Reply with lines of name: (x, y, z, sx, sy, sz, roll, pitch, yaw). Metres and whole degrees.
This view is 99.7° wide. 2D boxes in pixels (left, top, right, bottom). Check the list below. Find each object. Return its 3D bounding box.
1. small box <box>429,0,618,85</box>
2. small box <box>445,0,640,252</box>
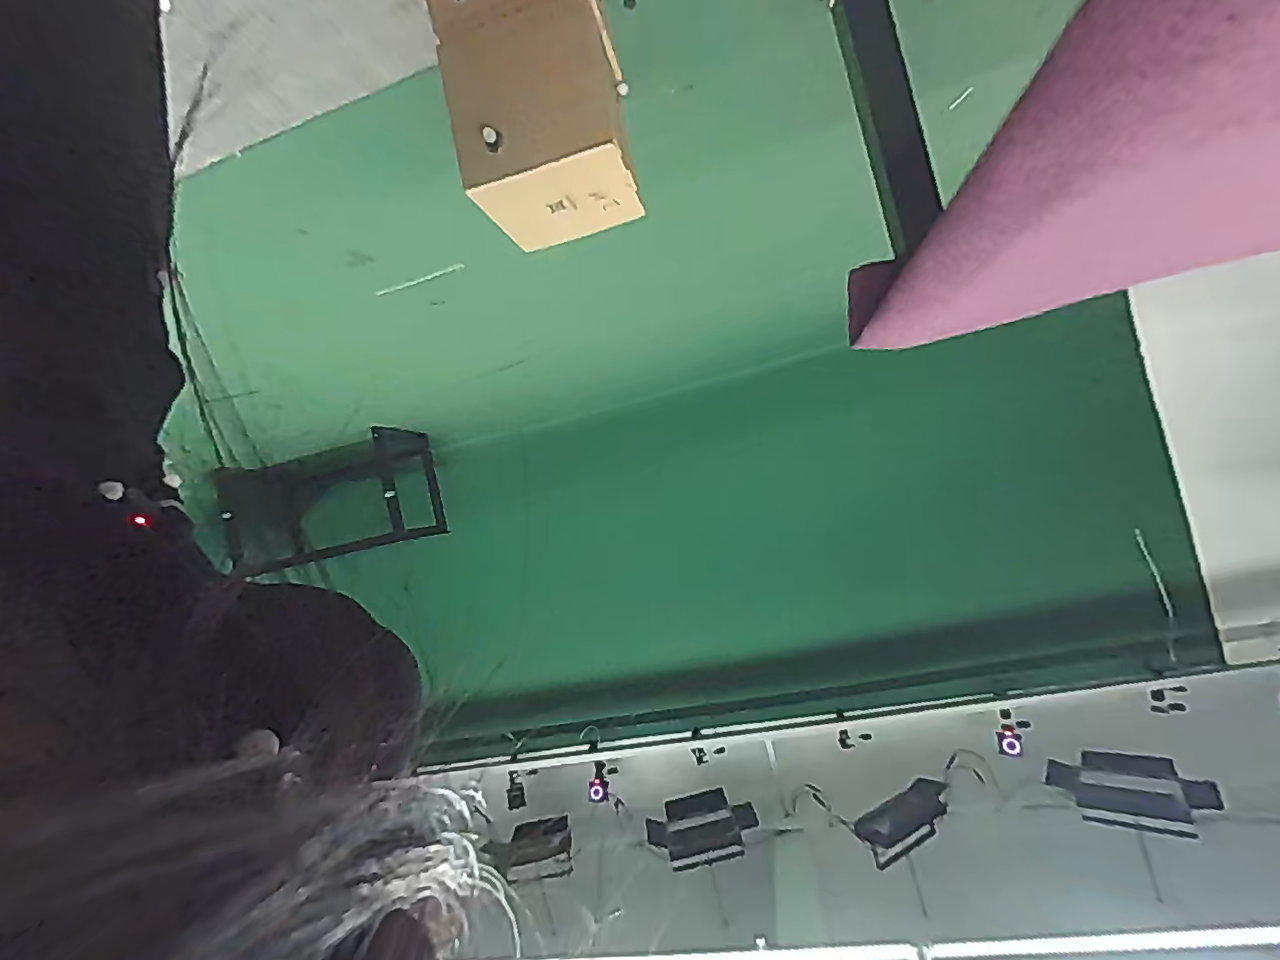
small box: (-0.142, -0.570, 0.636, 0.179, 0.176, 0.168, -12, 178, 12)
small box: (-0.112, -0.408, 0.646, 0.179, 0.176, 0.168, -13, 178, 11)
